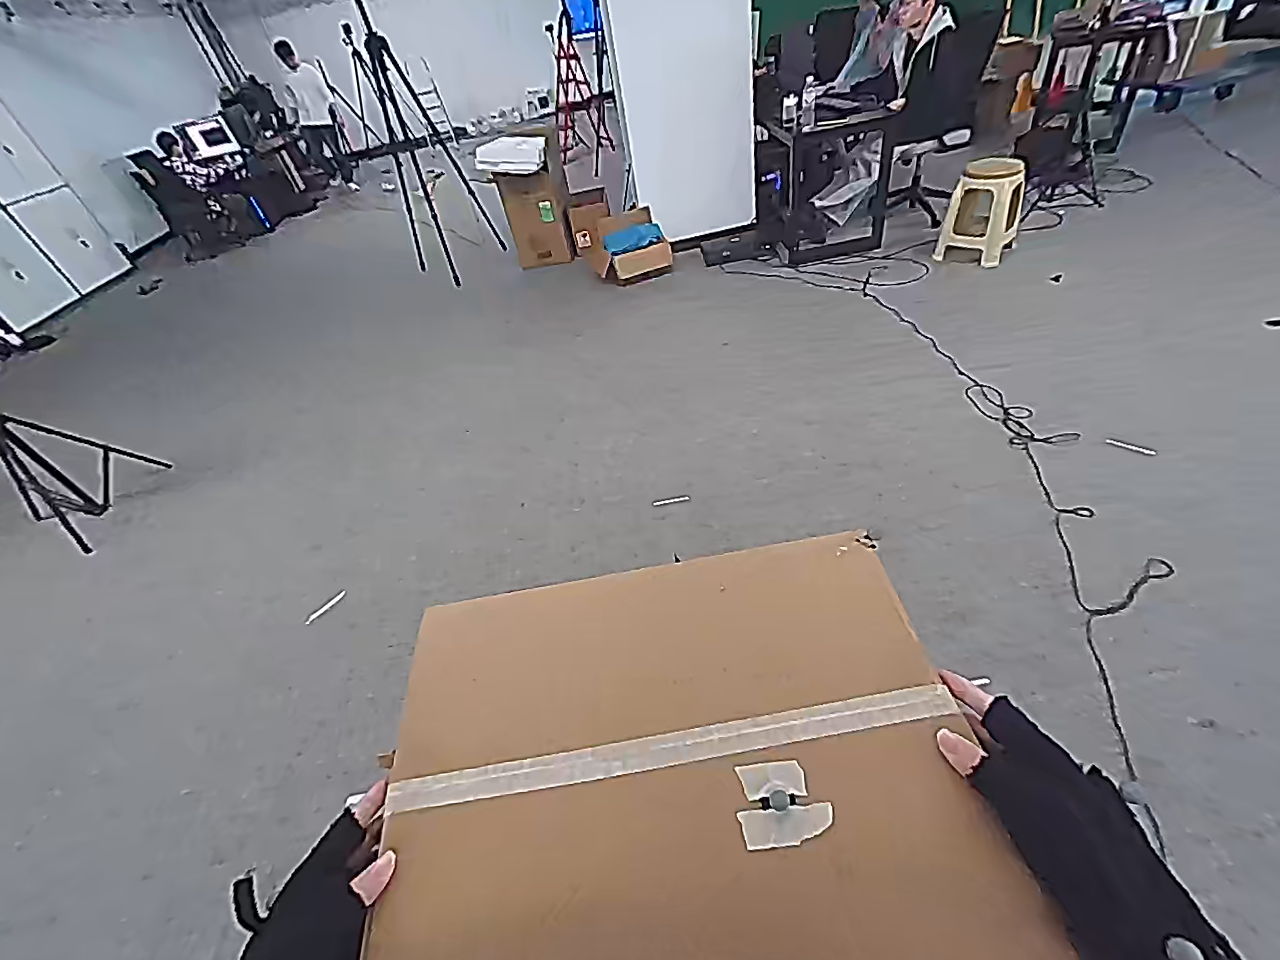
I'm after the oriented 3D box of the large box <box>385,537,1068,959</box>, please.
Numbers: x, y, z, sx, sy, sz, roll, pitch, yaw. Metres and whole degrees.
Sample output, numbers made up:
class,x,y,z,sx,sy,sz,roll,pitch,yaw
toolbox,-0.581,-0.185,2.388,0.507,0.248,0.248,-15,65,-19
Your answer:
class,x,y,z,sx,sy,sz,roll,pitch,yaw
large box,0.042,0.298,0.505,0.408,0.320,0.320,-10,46,0
